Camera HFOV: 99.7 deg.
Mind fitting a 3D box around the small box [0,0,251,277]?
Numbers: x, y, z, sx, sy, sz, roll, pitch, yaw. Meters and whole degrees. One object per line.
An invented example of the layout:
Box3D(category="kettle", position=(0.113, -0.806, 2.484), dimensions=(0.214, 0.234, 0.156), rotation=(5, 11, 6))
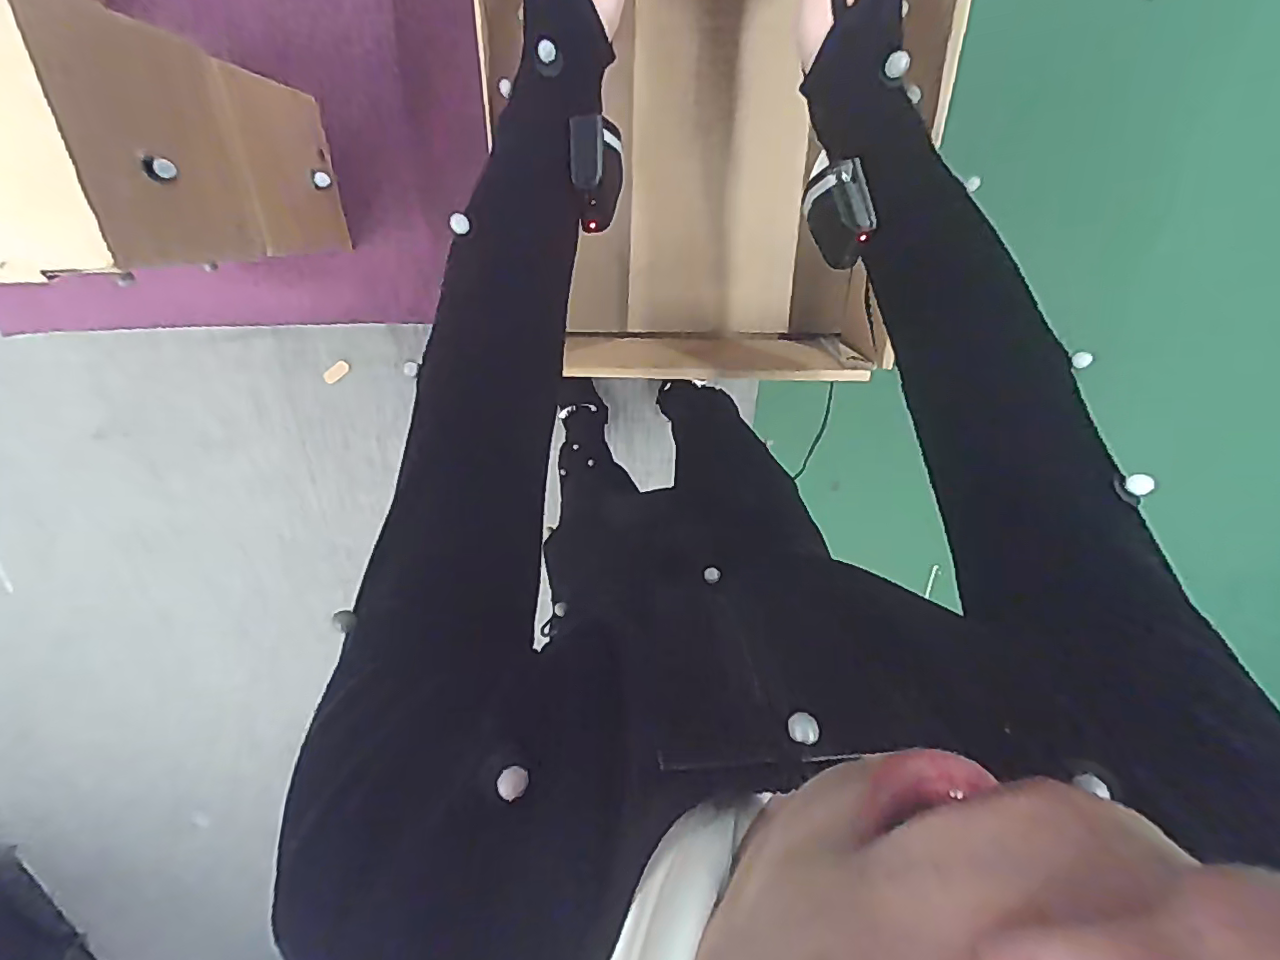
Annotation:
Box3D(category="small box", position=(-0.460, -0.263, 0.431), dimensions=(0.168, 0.176, 0.179), rotation=(-1, 116, 1))

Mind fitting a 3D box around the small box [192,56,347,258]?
Box3D(category="small box", position=(-0.457, -0.329, 0.581), dimensions=(0.179, 0.176, 0.168), rotation=(-2, 115, 1))
